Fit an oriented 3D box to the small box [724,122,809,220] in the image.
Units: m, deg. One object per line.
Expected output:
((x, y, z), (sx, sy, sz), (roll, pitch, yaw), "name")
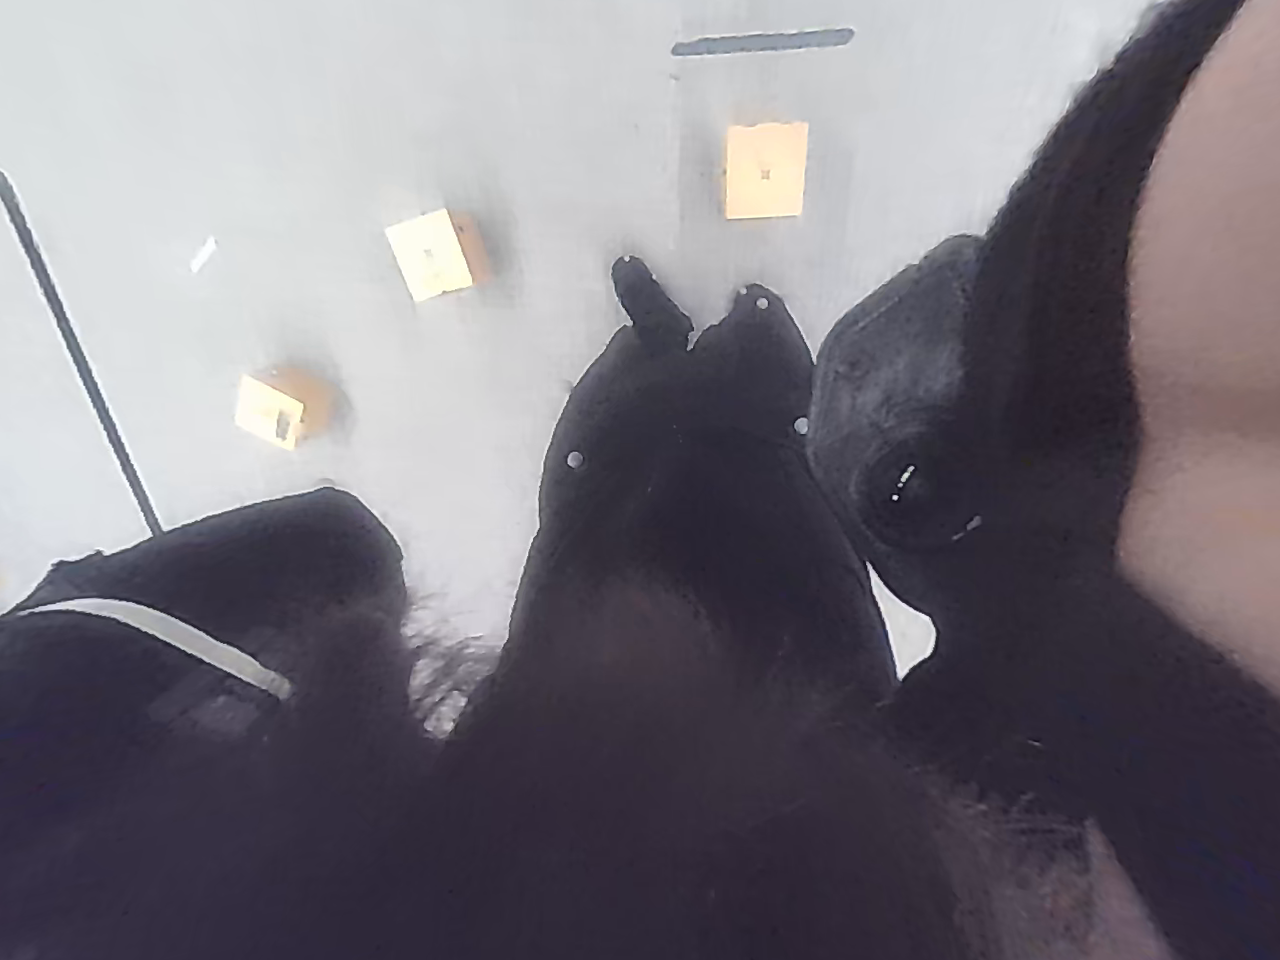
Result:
((0.277, -0.688, 1.218), (0.168, 0.176, 0.179), (0, 114, 7), "small box")

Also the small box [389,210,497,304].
((-0.486, -0.559, 1.359), (0.168, 0.176, 0.179), (-12, 113, 12), "small box")
